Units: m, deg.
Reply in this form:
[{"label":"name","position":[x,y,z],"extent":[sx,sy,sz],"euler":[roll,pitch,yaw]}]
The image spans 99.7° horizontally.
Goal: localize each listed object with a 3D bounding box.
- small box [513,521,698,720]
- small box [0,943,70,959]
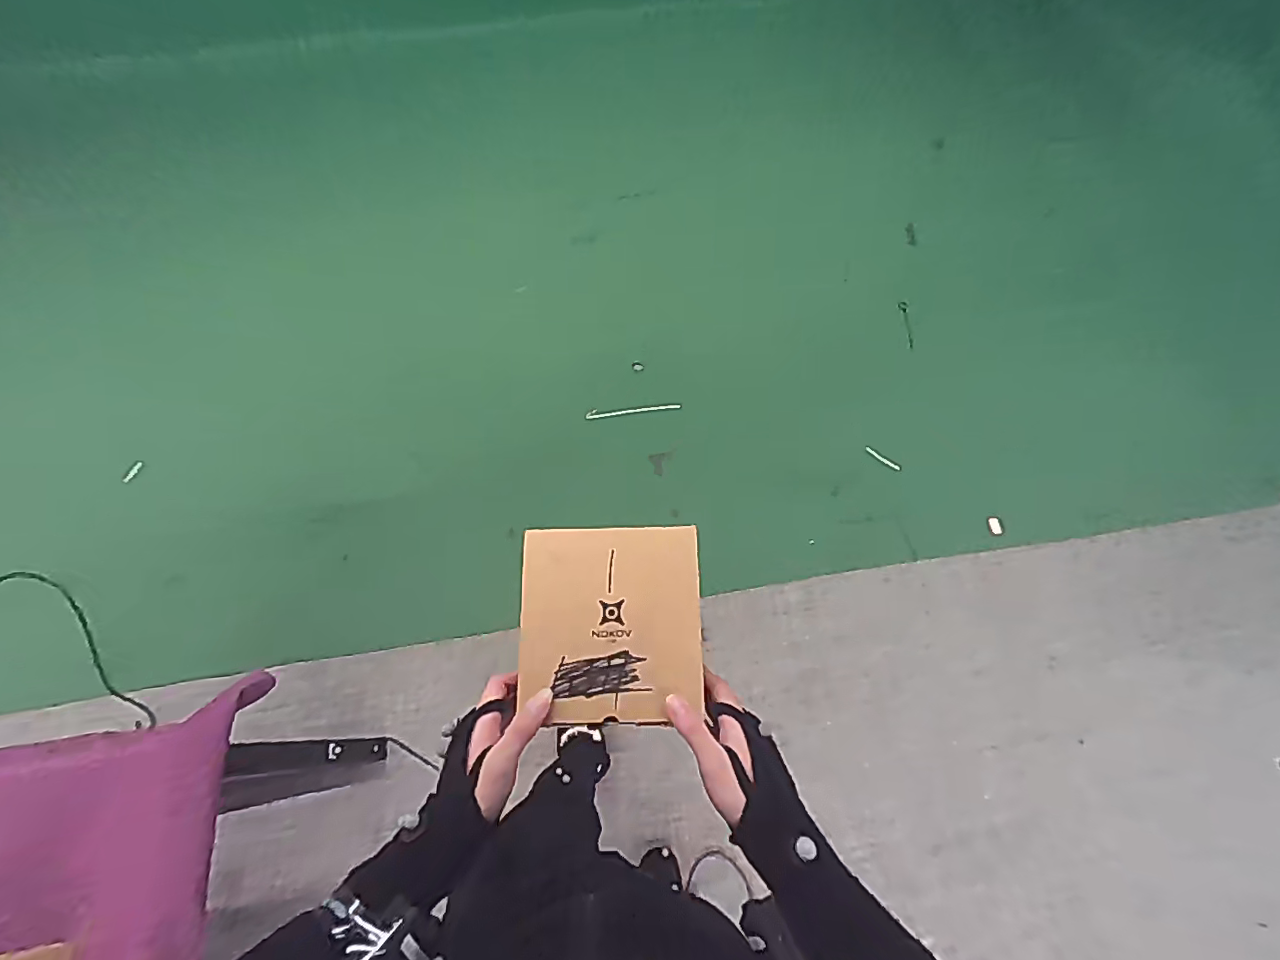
[{"label":"small box","position":[-0.026,0.146,0.568],"extent":[0.168,0.176,0.179],"euler":[0,73,1]},{"label":"small box","position":[-0.746,0.598,0.530],"extent":[0.179,0.176,0.168],"euler":[-9,66,-4]}]
